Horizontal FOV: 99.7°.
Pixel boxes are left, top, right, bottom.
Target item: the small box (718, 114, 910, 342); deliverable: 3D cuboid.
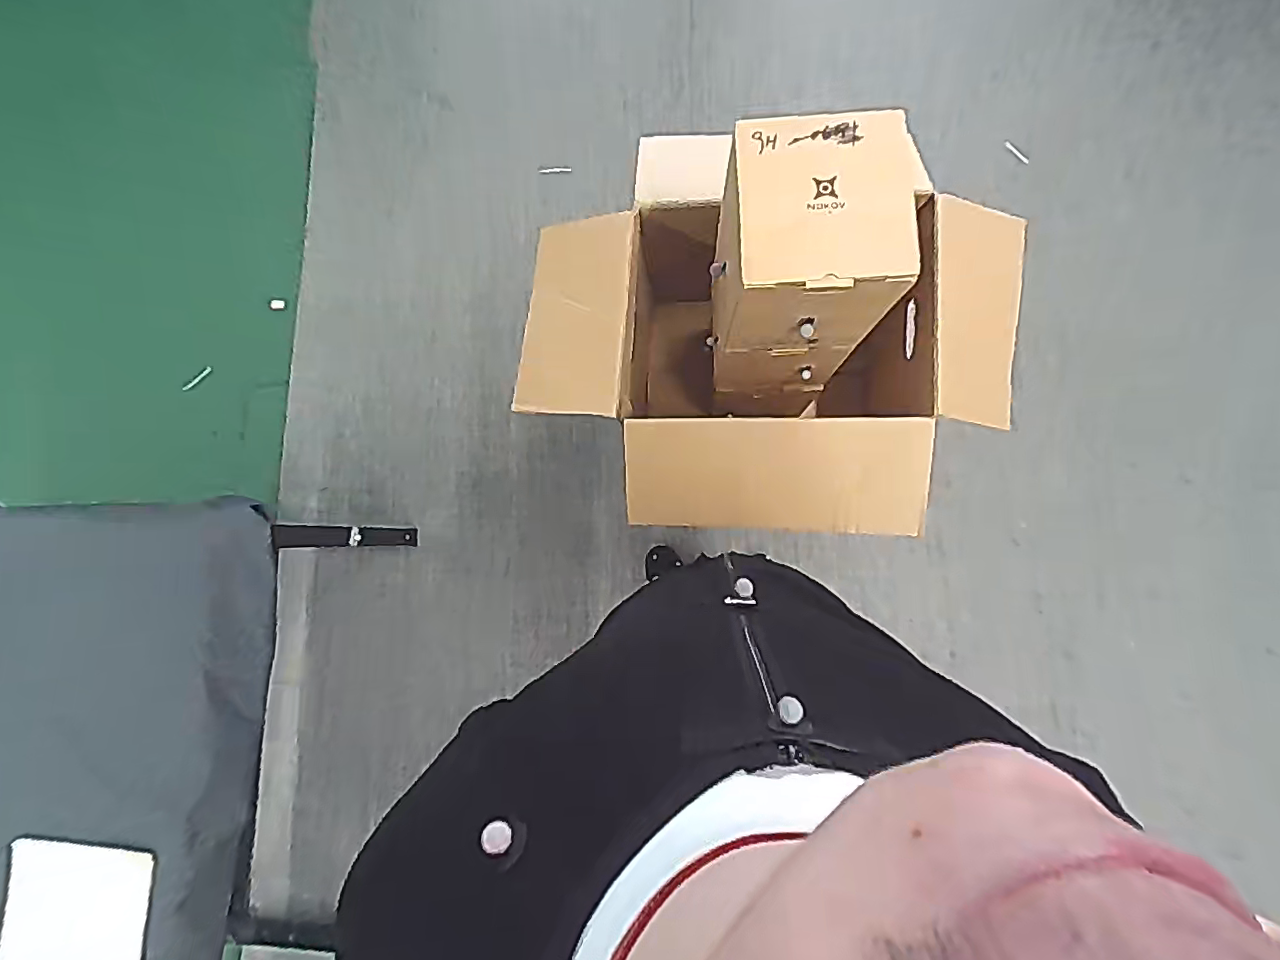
[{"bbox_3d":[0.177,-0.260,0.600,0.168,0.176,0.179,-1,84,3],"label":"small box"}]
